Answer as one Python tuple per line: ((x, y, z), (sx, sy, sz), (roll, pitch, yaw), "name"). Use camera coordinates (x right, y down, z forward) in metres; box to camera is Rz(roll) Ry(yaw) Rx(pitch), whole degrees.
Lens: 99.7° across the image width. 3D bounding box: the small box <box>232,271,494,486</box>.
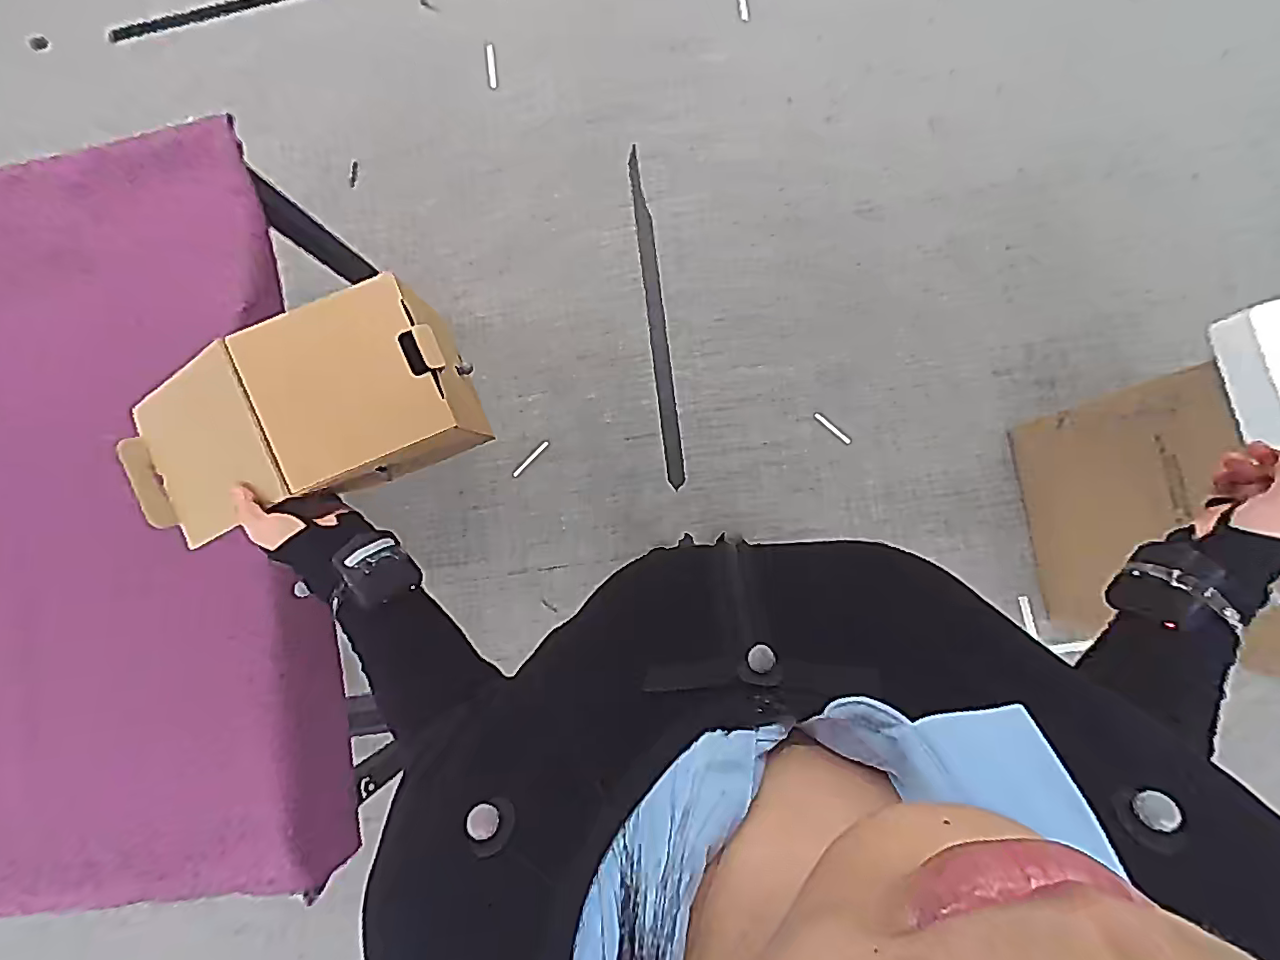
((-0.287, -0.099, 0.602), (0.179, 0.176, 0.168), (-22, 92, -2), "small box")
